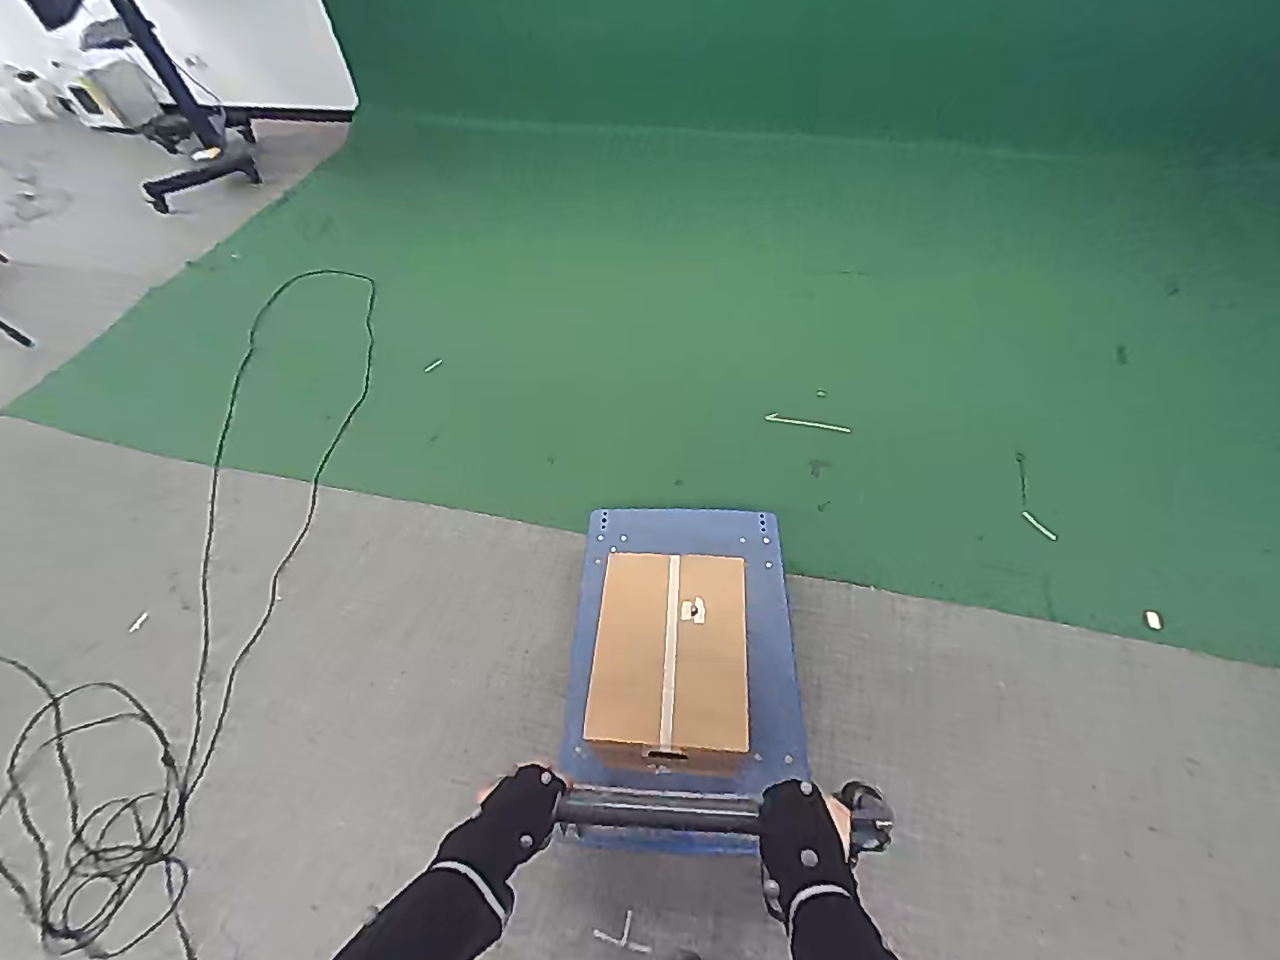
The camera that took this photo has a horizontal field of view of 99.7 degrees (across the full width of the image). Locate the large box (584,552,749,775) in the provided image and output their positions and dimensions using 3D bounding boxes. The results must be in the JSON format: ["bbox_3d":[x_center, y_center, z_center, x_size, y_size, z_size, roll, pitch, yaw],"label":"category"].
[{"bbox_3d":[0.071,0.419,1.234,0.320,0.320,0.408,2,53,6],"label":"large box"}]
